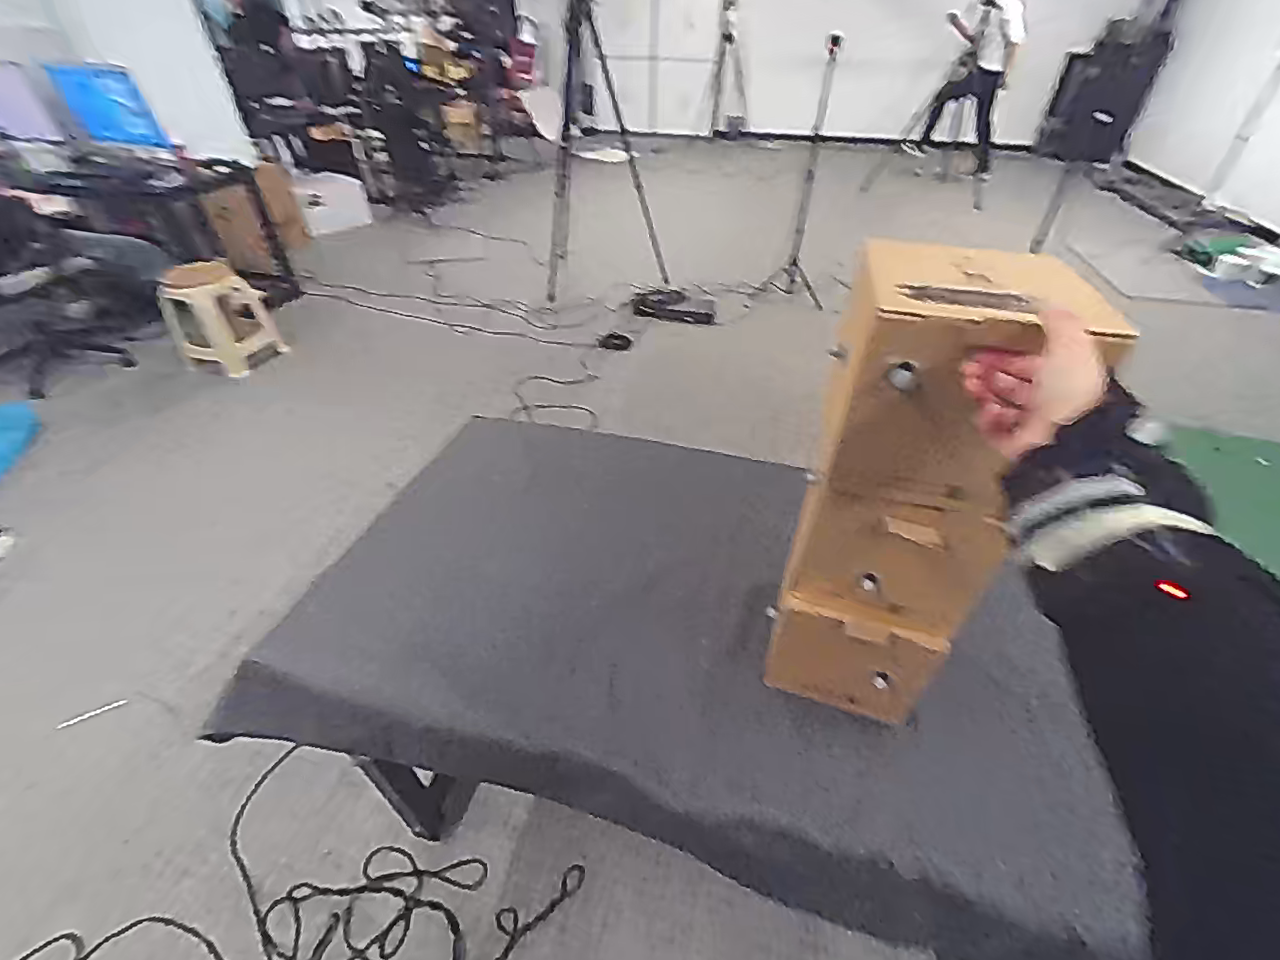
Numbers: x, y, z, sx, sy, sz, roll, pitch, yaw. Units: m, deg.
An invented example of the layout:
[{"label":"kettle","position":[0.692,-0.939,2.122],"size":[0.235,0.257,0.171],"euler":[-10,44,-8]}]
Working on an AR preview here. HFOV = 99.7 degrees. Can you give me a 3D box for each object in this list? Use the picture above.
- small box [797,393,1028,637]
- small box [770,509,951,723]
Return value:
[{"label":"small box","position":[0.275,0.033,0.583],"size":[0.168,0.176,0.179],"euler":[14,42,15]},{"label":"small box","position":[0.265,0.168,0.676],"size":[0.168,0.176,0.179],"euler":[13,41,14]}]
